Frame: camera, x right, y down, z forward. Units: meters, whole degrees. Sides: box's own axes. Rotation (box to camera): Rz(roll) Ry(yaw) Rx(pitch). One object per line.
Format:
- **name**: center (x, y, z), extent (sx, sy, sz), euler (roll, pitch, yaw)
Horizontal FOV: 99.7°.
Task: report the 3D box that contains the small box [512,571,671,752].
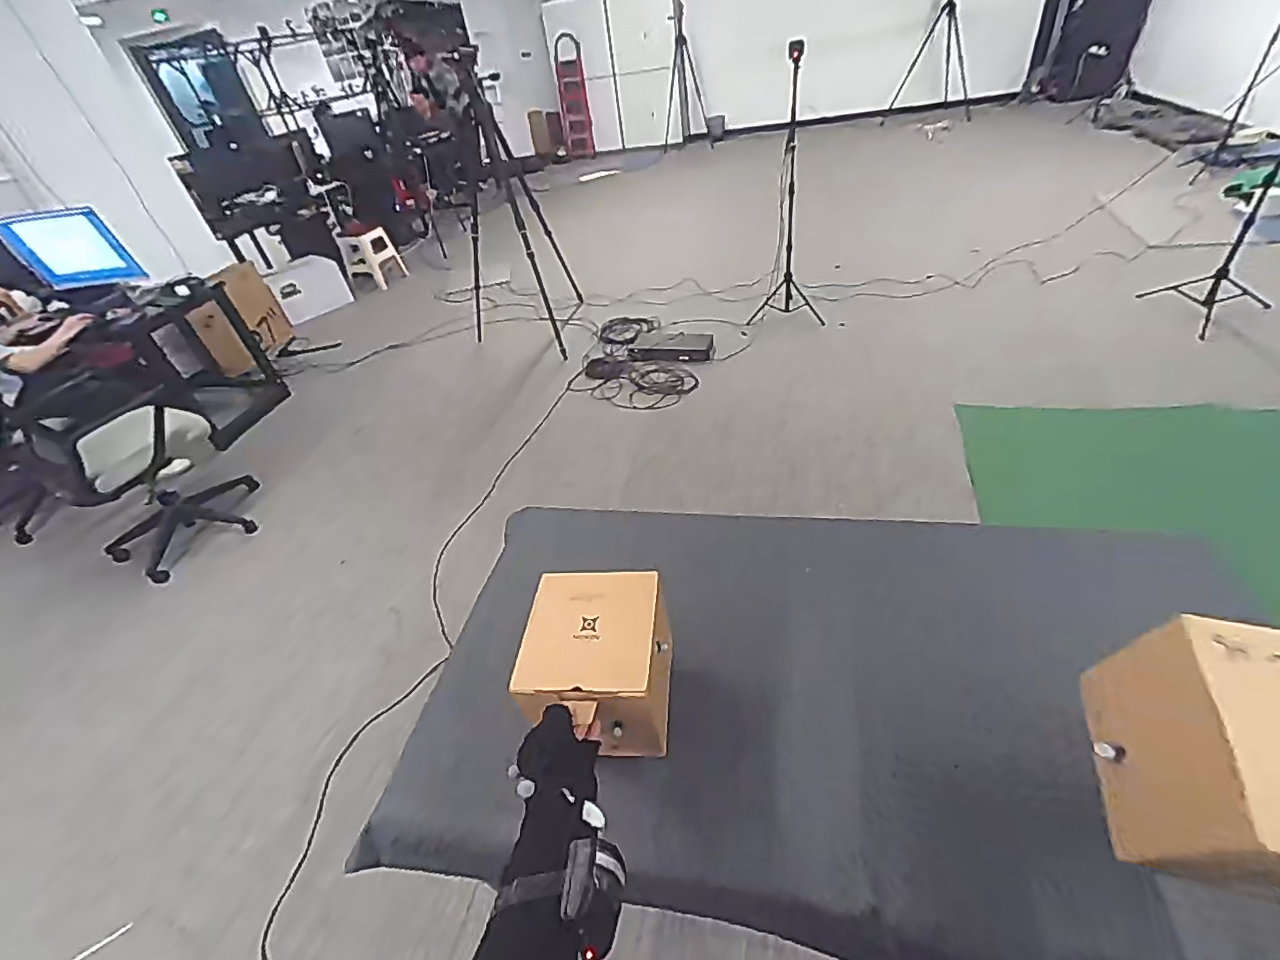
- **small box**: center (-0.050, 0.243, 0.726), extent (0.168, 0.176, 0.179), euler (-2, 40, 9)
